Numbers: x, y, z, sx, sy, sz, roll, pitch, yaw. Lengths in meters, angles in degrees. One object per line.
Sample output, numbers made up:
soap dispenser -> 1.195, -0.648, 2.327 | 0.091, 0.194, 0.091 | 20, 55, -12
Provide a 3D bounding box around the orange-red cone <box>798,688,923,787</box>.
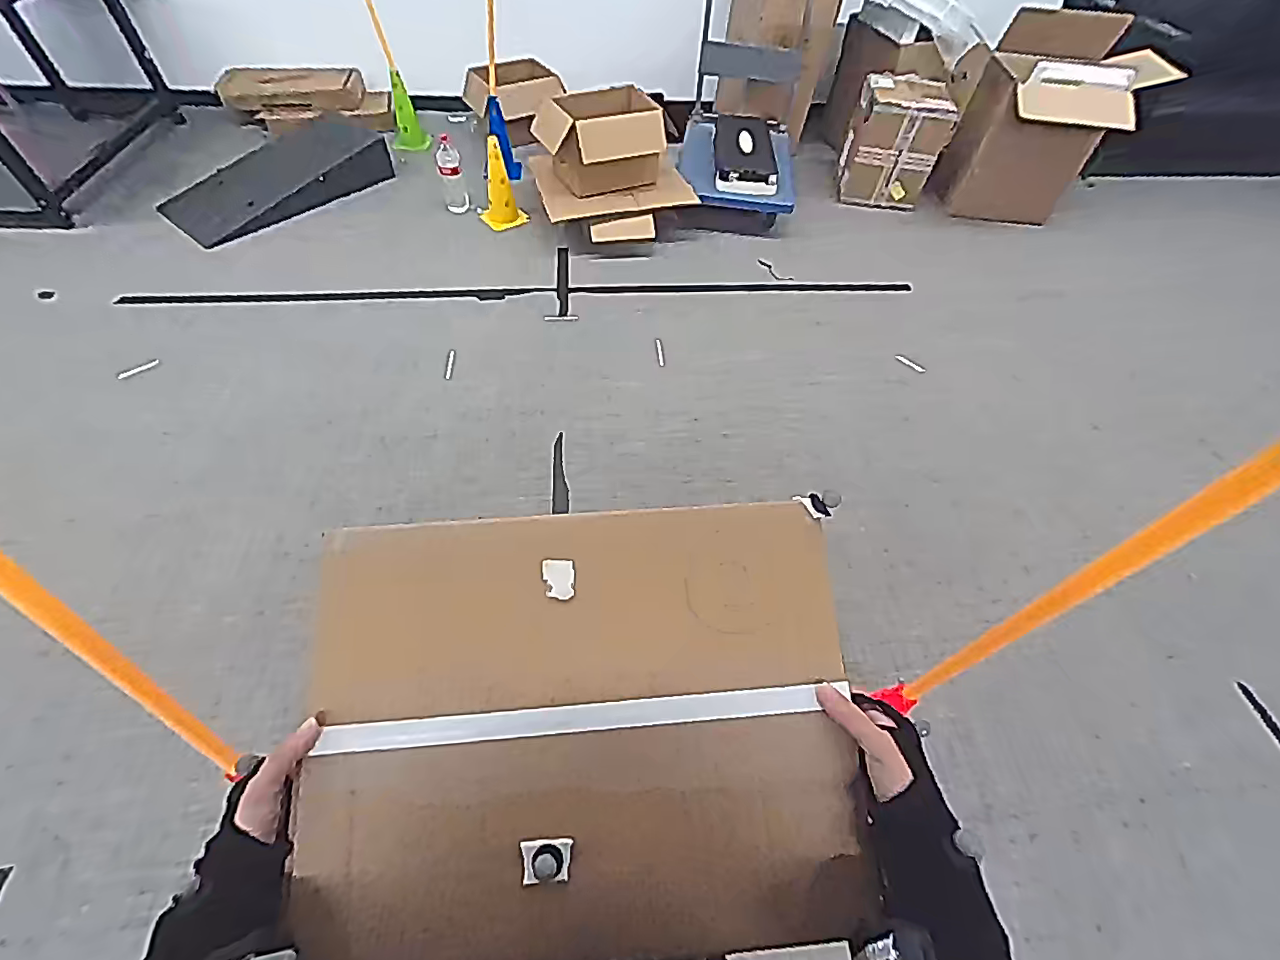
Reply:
orange-red cone -> 0.514, 0.520, 1.176 | 0.199, 0.360, 0.198 | -9, 55, -12
